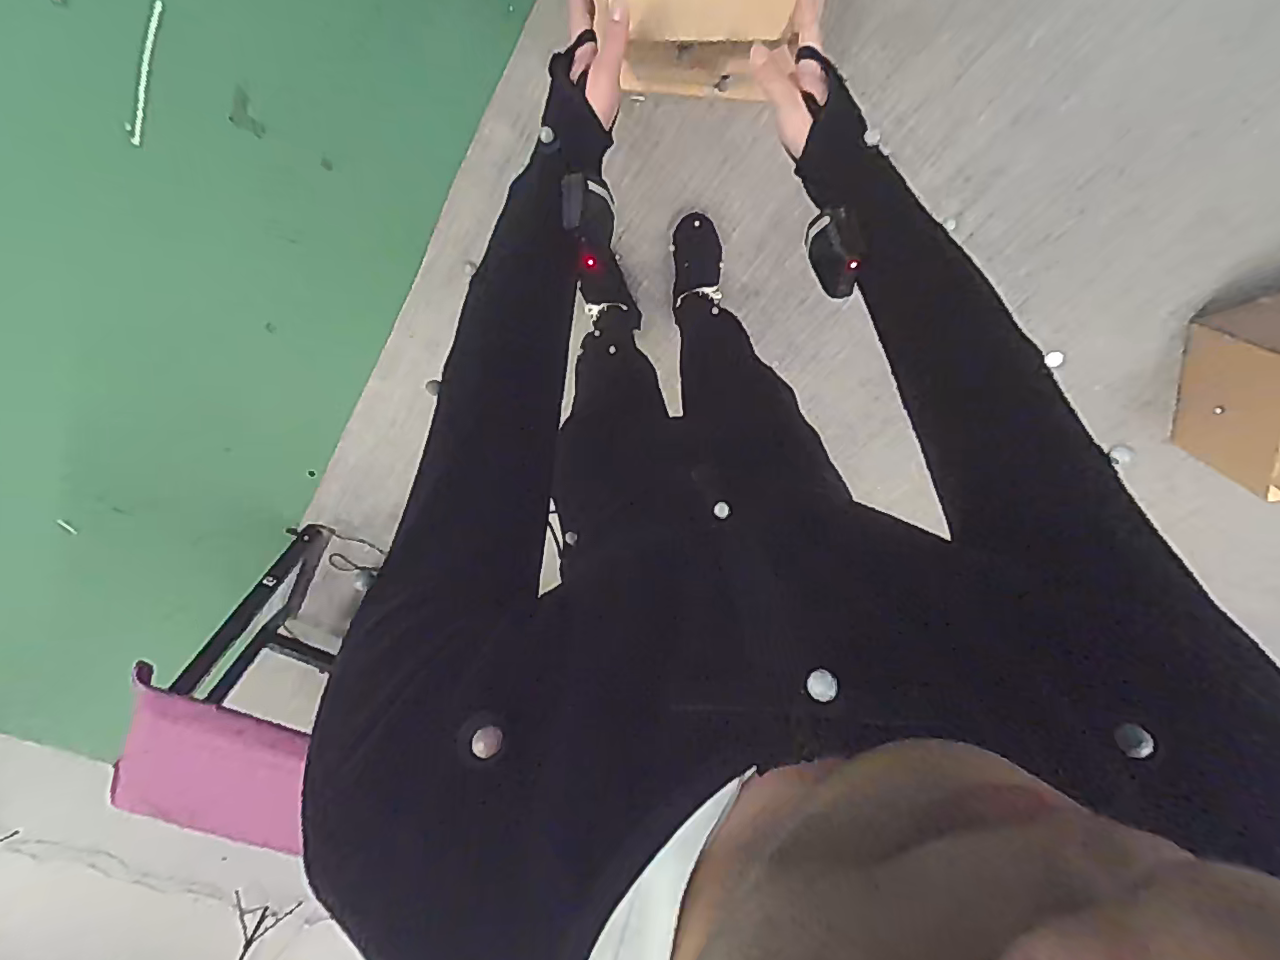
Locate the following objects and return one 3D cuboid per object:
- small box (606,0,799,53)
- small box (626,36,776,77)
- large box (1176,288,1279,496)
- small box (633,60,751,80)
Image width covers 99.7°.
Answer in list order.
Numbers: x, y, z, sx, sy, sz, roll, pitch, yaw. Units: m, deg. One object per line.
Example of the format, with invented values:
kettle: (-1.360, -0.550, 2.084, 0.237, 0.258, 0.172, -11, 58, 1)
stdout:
small box: (0.060, -0.525, 0.522, 0.179, 0.176, 0.168, 1, 124, 1)
small box: (0.080, -0.609, 0.663, 0.179, 0.176, 0.168, 6, 123, -2)
large box: (1.654, -0.237, 1.359, 0.320, 0.320, 0.408, -19, 121, 13)
small box: (0.085, -0.702, 0.798, 0.179, 0.176, 0.168, 5, 124, -1)
